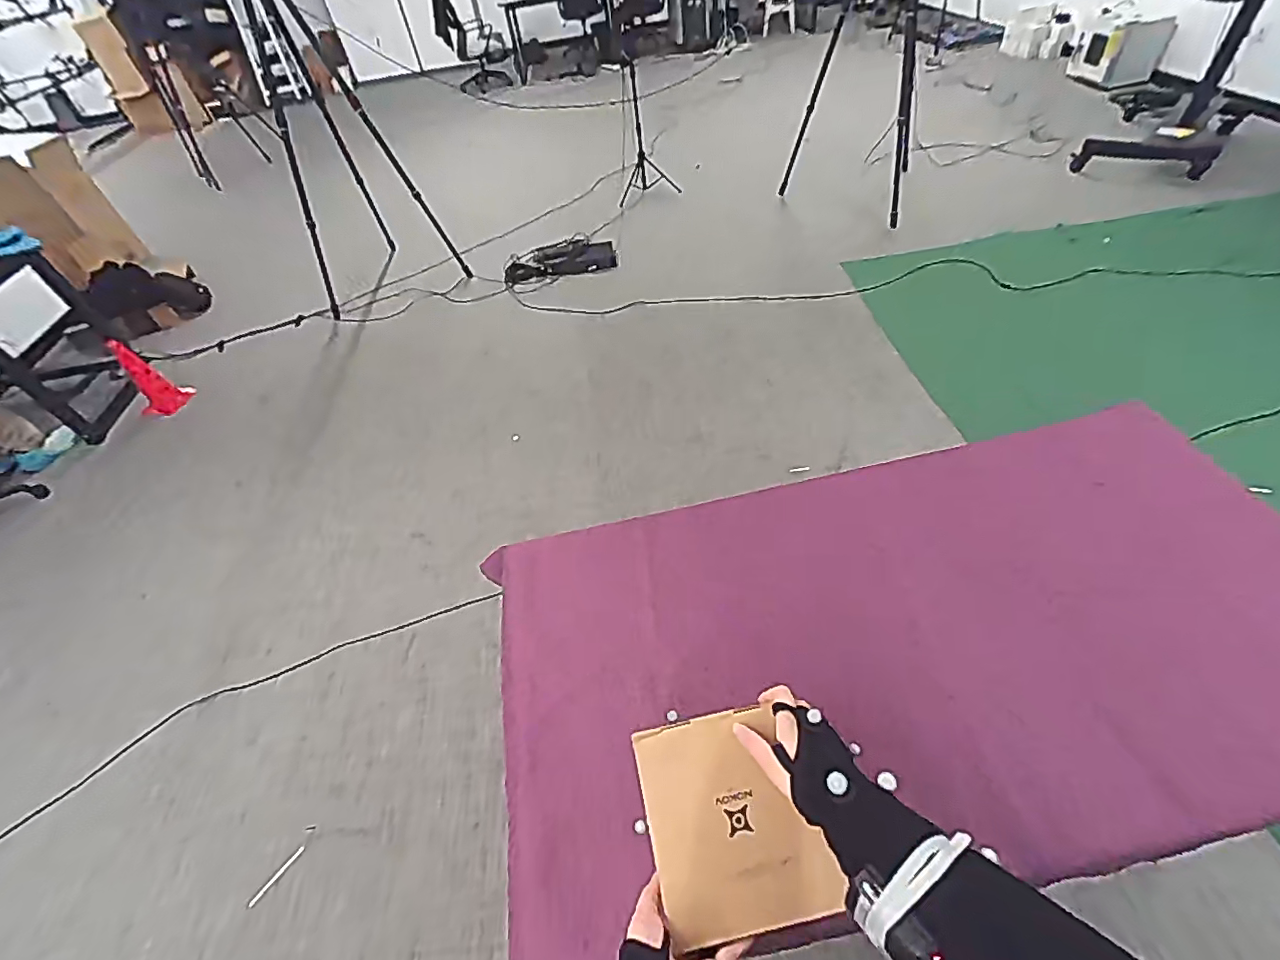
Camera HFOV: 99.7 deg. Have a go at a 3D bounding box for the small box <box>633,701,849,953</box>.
[{"bbox_3d":[0.089,0.349,0.573,0.168,0.176,0.179,-12,64,-3],"label":"small box"}]
